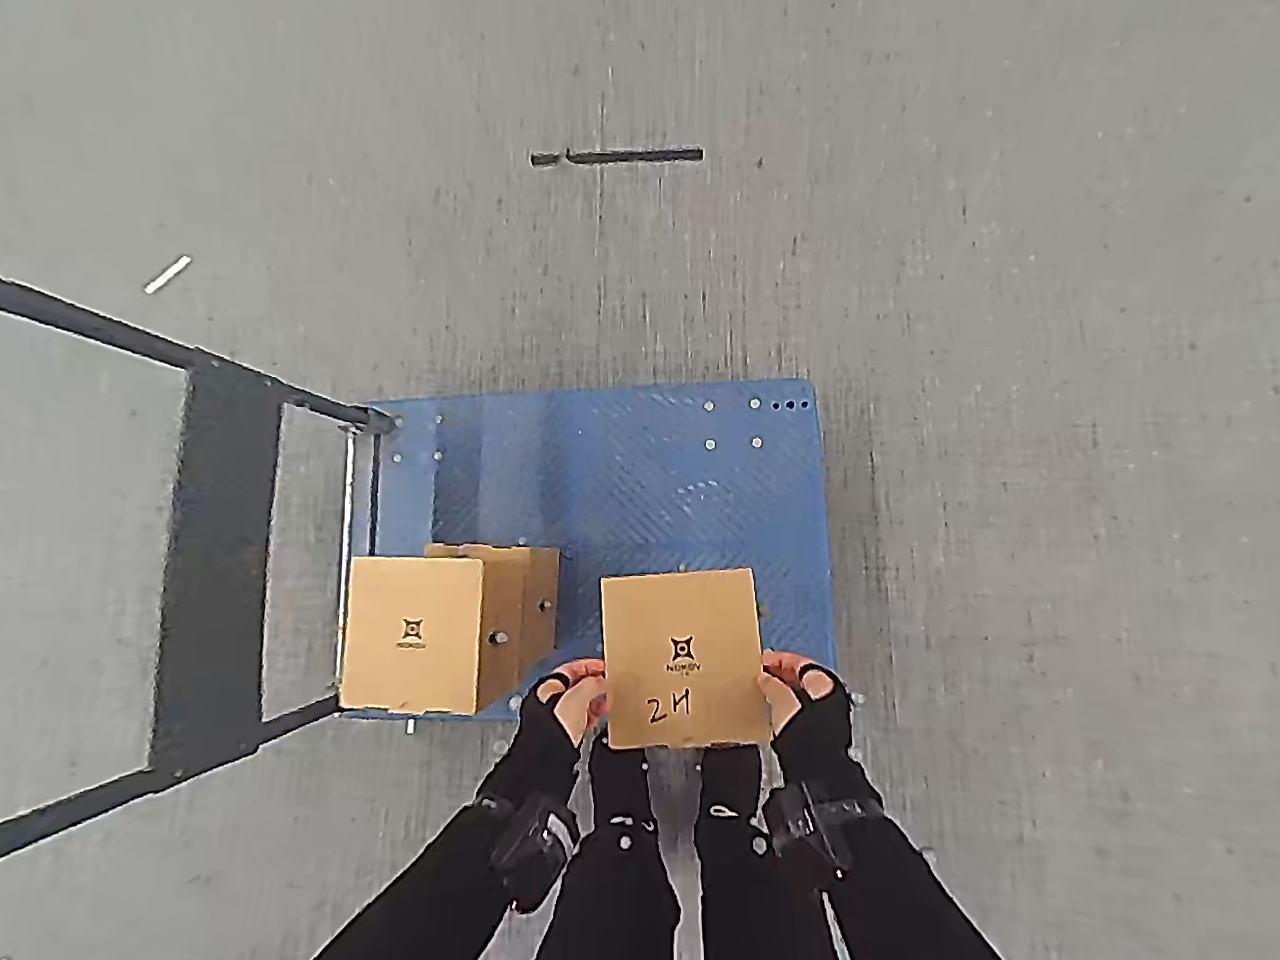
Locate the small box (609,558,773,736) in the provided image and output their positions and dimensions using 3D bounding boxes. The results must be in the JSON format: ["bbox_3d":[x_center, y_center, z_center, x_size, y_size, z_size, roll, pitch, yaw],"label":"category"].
[{"bbox_3d":[0.057,0.193,0.647,0.168,0.176,0.179,-5,77,5],"label":"small box"}]

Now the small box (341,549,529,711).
[{"bbox_3d":[-0.248,0.179,0.693,0.168,0.176,0.179,0,83,6],"label":"small box"}]
